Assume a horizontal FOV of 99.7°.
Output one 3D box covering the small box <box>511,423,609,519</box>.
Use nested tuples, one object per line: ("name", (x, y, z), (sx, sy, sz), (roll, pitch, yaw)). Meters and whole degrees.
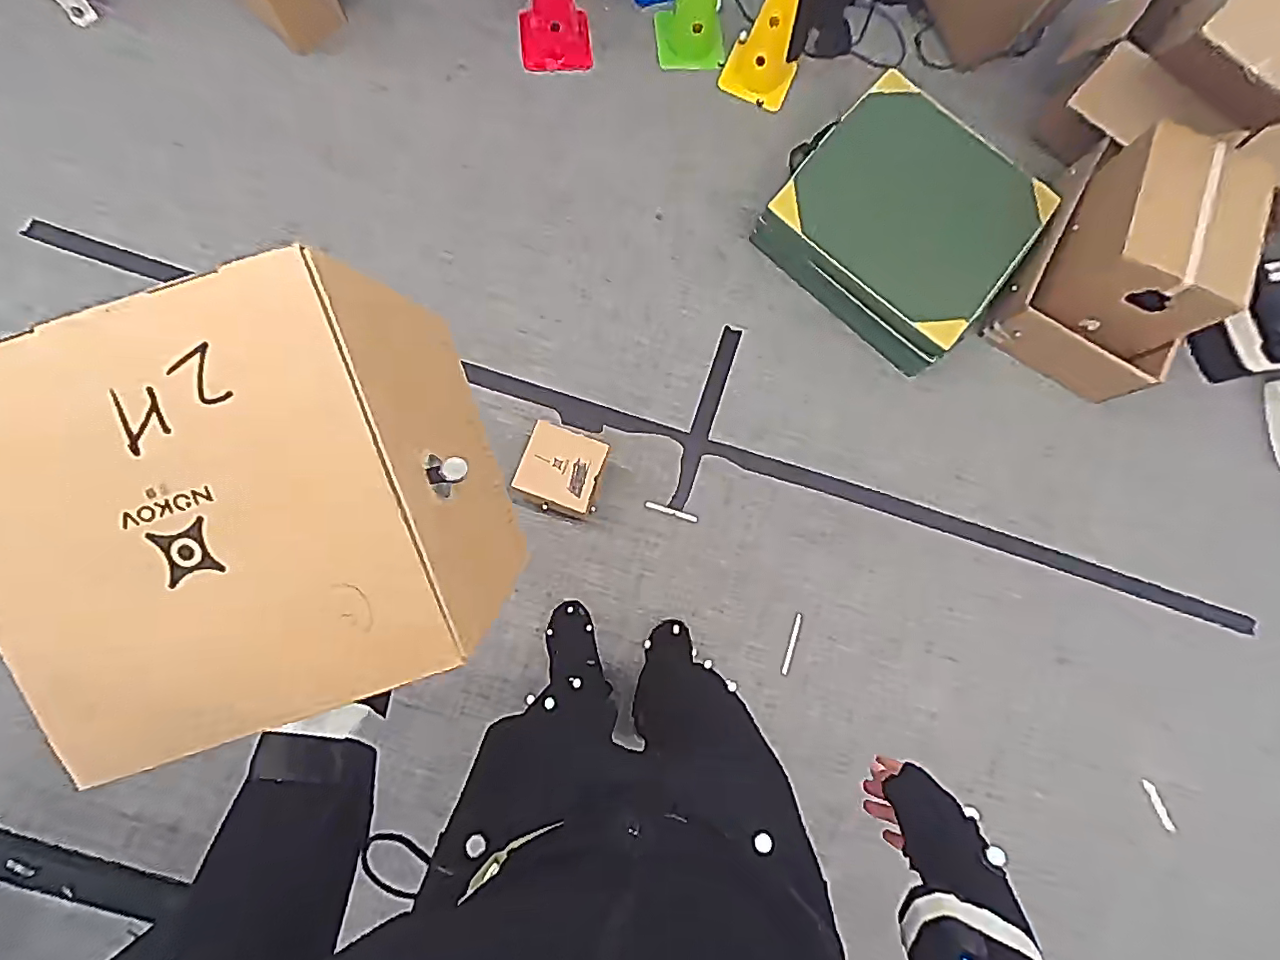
("small box", (-0.185, -0.012, 1.288), (0.179, 0.176, 0.168), (21, 78, -1))

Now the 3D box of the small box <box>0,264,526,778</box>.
("small box", (-0.173, 0.011, 0.295), (0.168, 0.176, 0.179), (-18, 98, -1))
